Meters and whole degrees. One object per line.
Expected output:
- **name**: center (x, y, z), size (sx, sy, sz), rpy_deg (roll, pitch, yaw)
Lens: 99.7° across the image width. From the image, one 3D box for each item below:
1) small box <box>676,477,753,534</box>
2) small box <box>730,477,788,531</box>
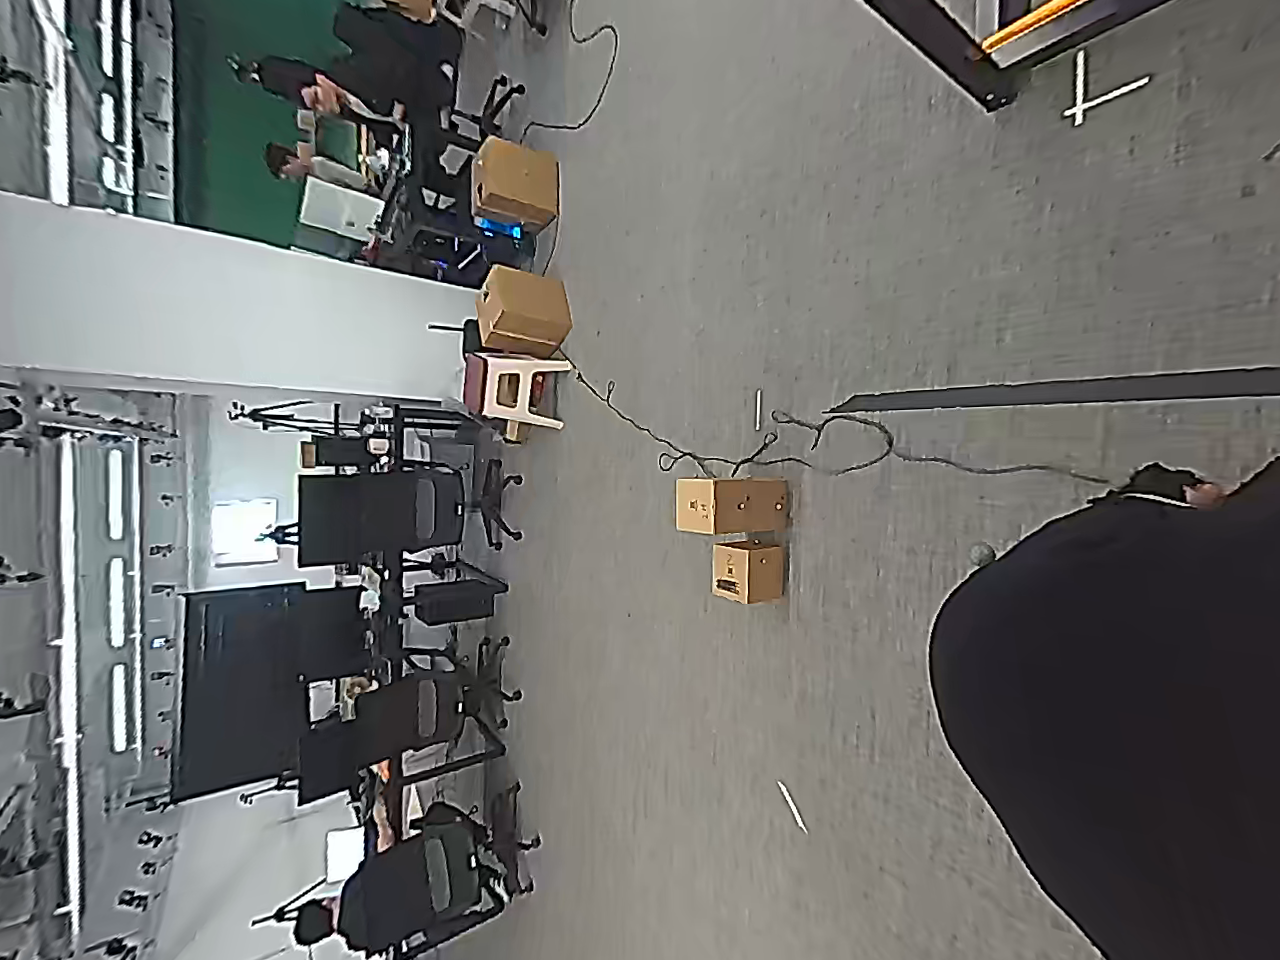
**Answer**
- **small box**: center (0.230, 0.076, 1.689), size (0.179, 0.176, 0.168), rpy_deg (1, 92, 54)
- **small box**: center (0.363, 0.075, 1.786), size (0.179, 0.176, 0.168), rpy_deg (4, 94, 53)
